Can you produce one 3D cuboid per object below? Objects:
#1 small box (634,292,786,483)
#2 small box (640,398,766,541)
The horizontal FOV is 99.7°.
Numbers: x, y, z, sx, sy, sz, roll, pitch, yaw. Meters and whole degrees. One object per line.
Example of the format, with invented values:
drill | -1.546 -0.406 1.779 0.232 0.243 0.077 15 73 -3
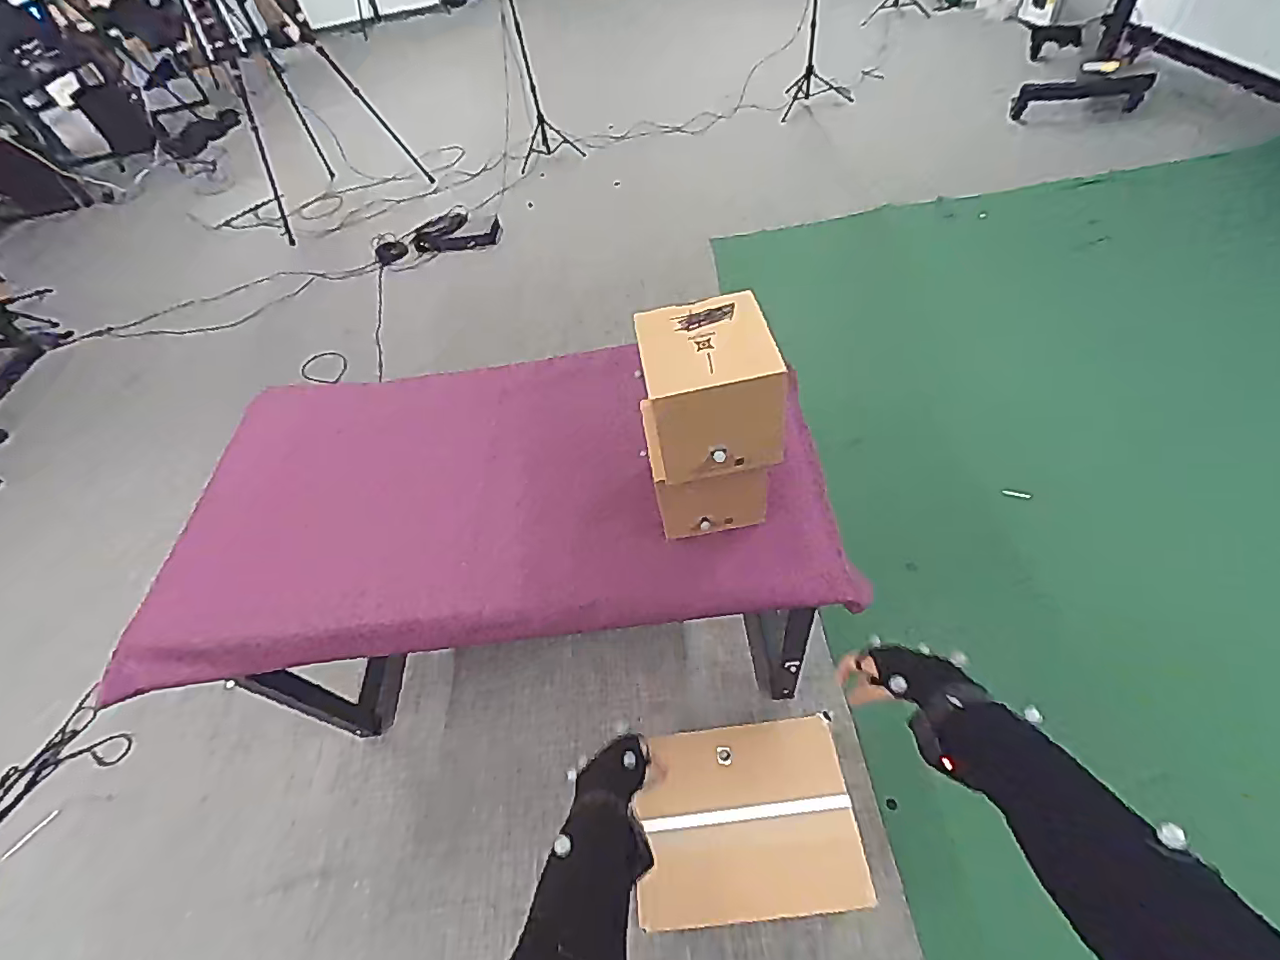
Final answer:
small box | 0.092 -0.123 0.737 0.168 0.176 0.179 -11 50 4
small box | 0.100 -0.028 0.873 0.168 0.176 0.179 -11 50 3
